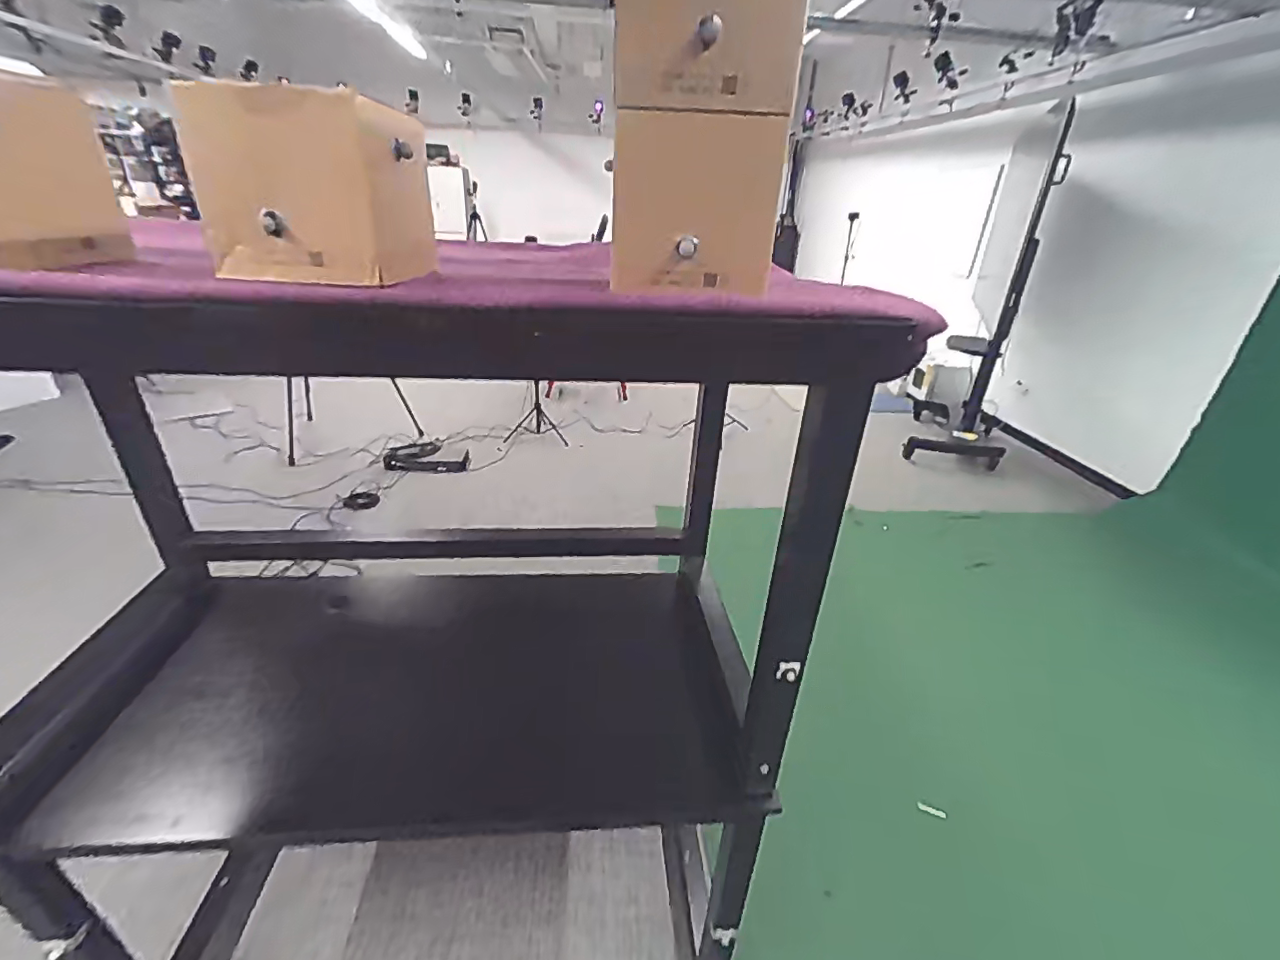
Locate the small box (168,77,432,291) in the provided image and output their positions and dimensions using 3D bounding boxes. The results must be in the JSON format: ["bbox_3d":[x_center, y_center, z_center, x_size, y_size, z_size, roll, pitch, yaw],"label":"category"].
[{"bbox_3d":[-0.333,-0.305,0.578,0.168,0.176,0.179,2,27,-1],"label":"small box"}]

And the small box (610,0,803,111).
[{"bbox_3d":[0.058,-0.450,0.528,0.168,0.176,0.179,1,28,0],"label":"small box"}]

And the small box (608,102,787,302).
[{"bbox_3d":[0.052,-0.303,0.603,0.168,0.176,0.179,2,28,0],"label":"small box"}]
